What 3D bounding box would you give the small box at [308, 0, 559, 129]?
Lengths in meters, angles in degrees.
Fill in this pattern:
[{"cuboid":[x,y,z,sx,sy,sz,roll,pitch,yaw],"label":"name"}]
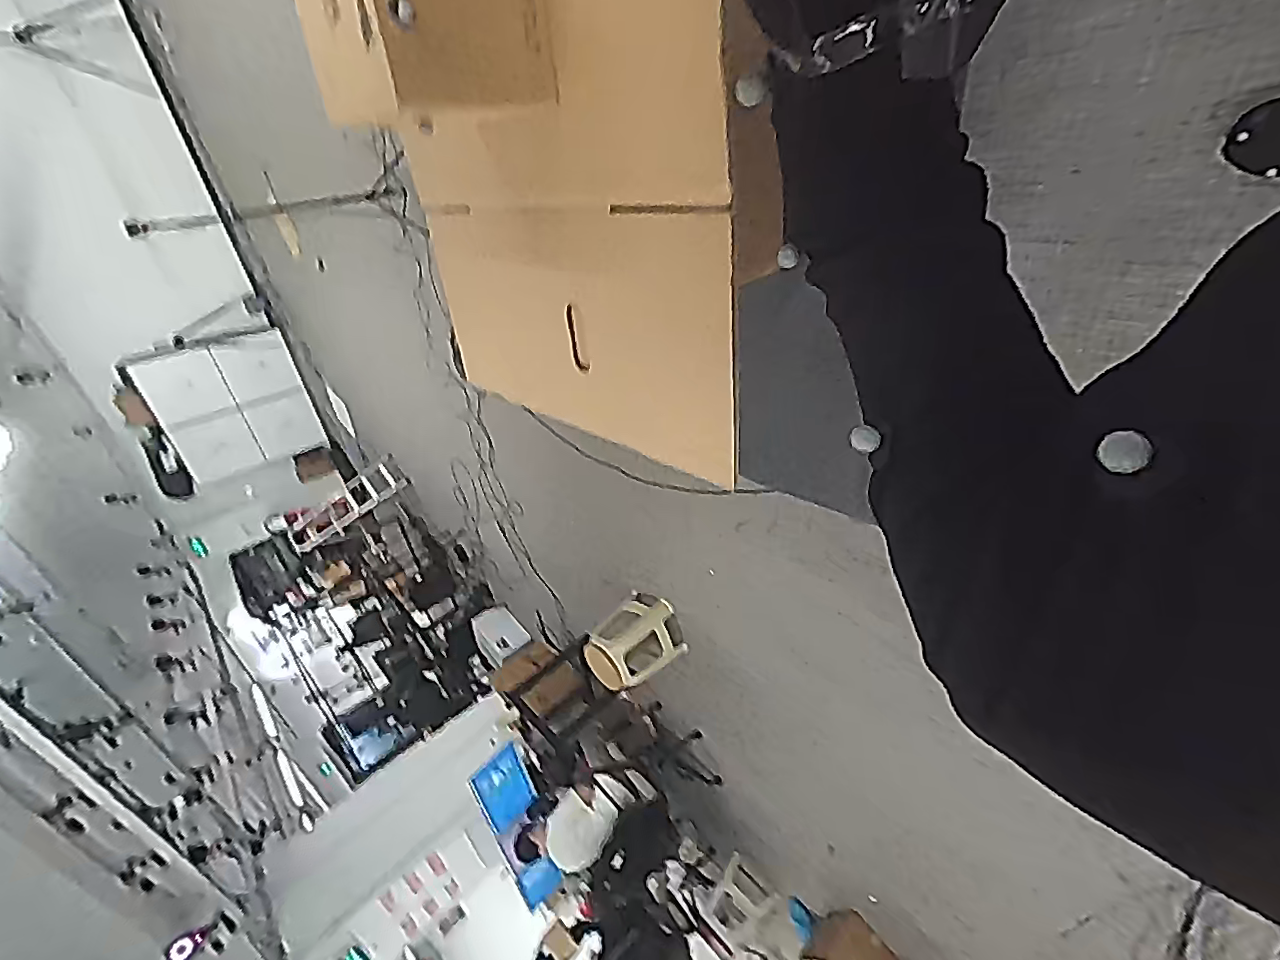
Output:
[{"cuboid":[-0.202,-0.444,0.524,0.179,0.176,0.168,26,133,41],"label":"small box"}]
